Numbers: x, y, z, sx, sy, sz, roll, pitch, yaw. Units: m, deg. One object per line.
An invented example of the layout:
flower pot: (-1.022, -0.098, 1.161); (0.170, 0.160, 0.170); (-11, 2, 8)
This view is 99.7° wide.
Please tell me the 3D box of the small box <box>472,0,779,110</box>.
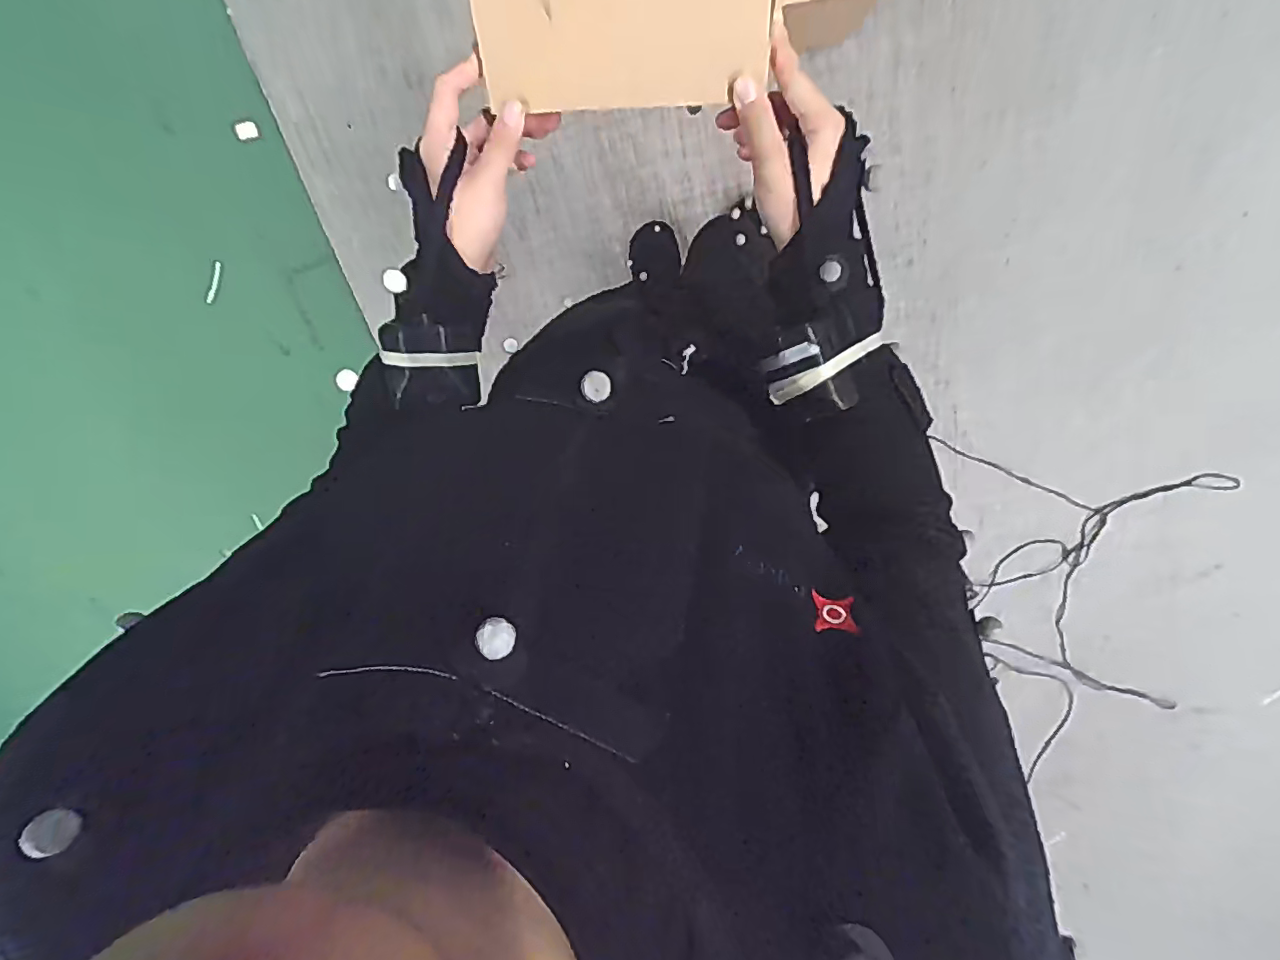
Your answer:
small box: (-0.006, -0.348, 0.342); (0.179, 0.176, 0.168); (0, 130, 7)

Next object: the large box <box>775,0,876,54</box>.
large box: (0.142, -0.853, 0.820); (0.408, 0.320, 0.320); (-5, 117, 8)
